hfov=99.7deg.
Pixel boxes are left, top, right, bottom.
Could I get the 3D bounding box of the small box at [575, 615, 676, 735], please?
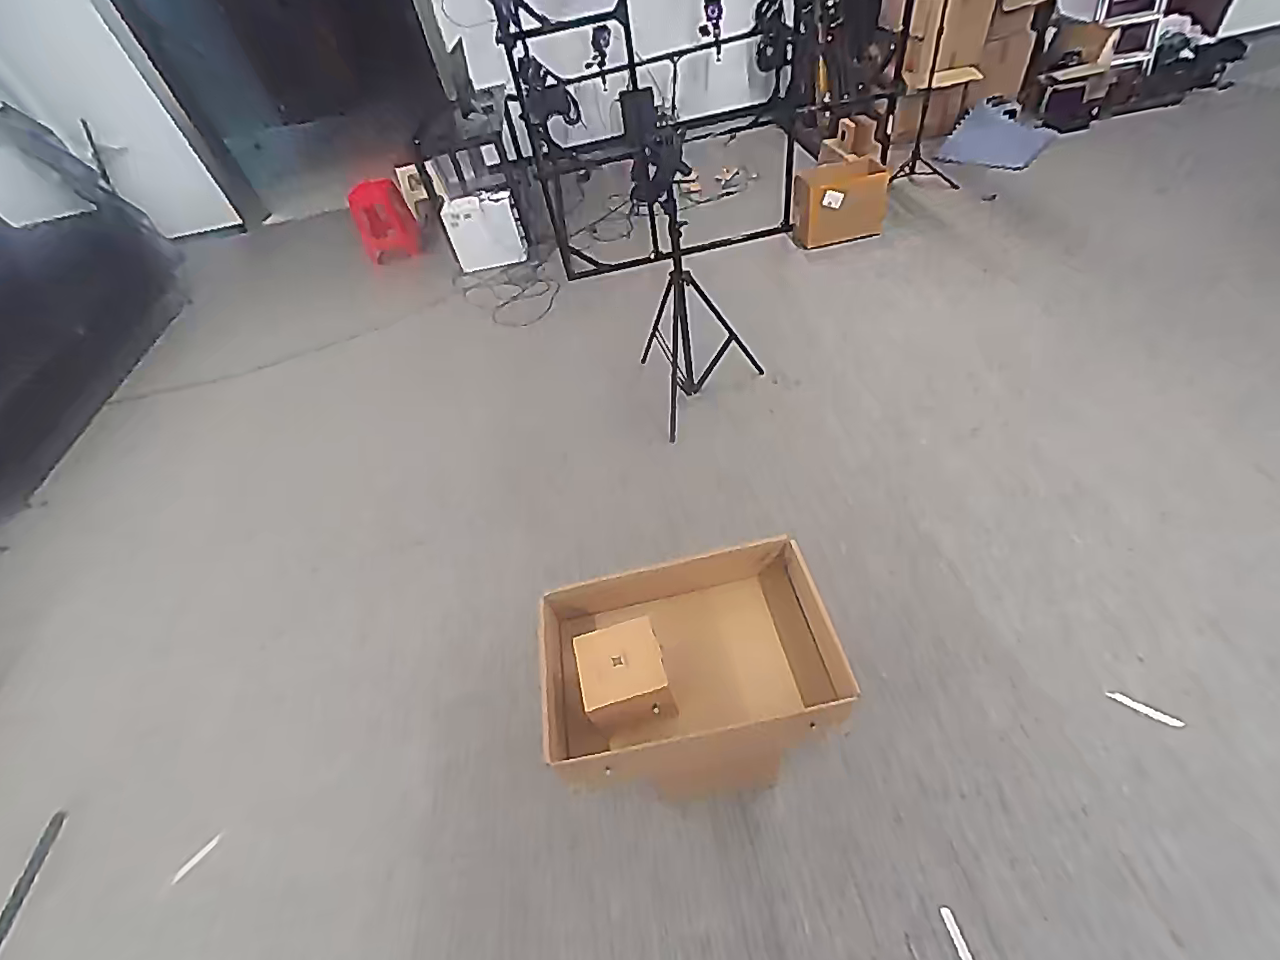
[{"bbox_3d":[-0.026,0.423,1.164,0.179,0.176,0.168,-17,46,-1],"label":"small box"}]
